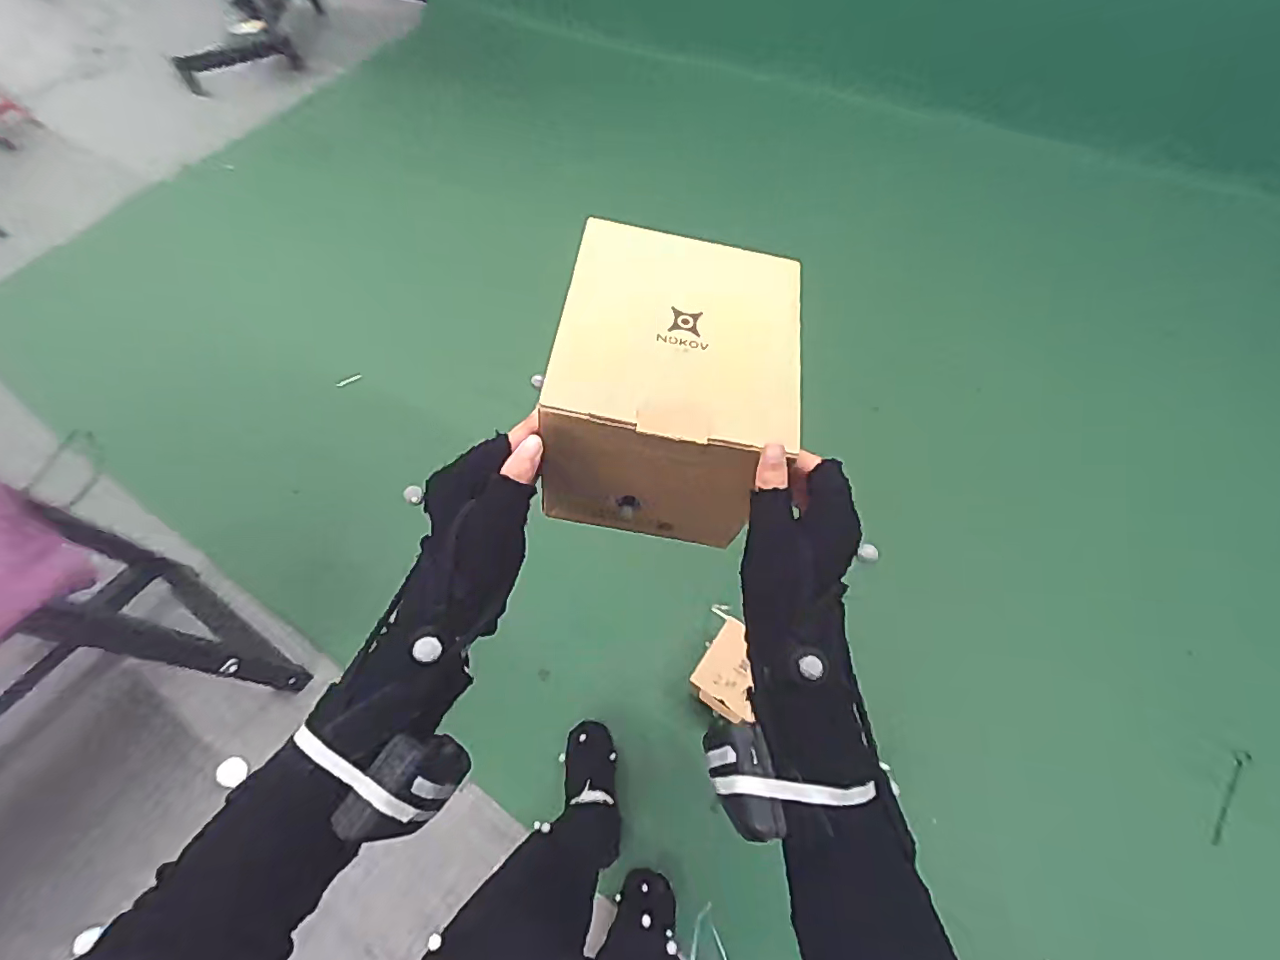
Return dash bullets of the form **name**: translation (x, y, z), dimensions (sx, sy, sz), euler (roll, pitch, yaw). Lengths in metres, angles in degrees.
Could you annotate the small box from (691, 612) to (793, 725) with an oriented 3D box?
- **small box**: translation (0.226, 0.441, 1.253), dimensions (0.168, 0.176, 0.179), euler (32, 68, 19)
